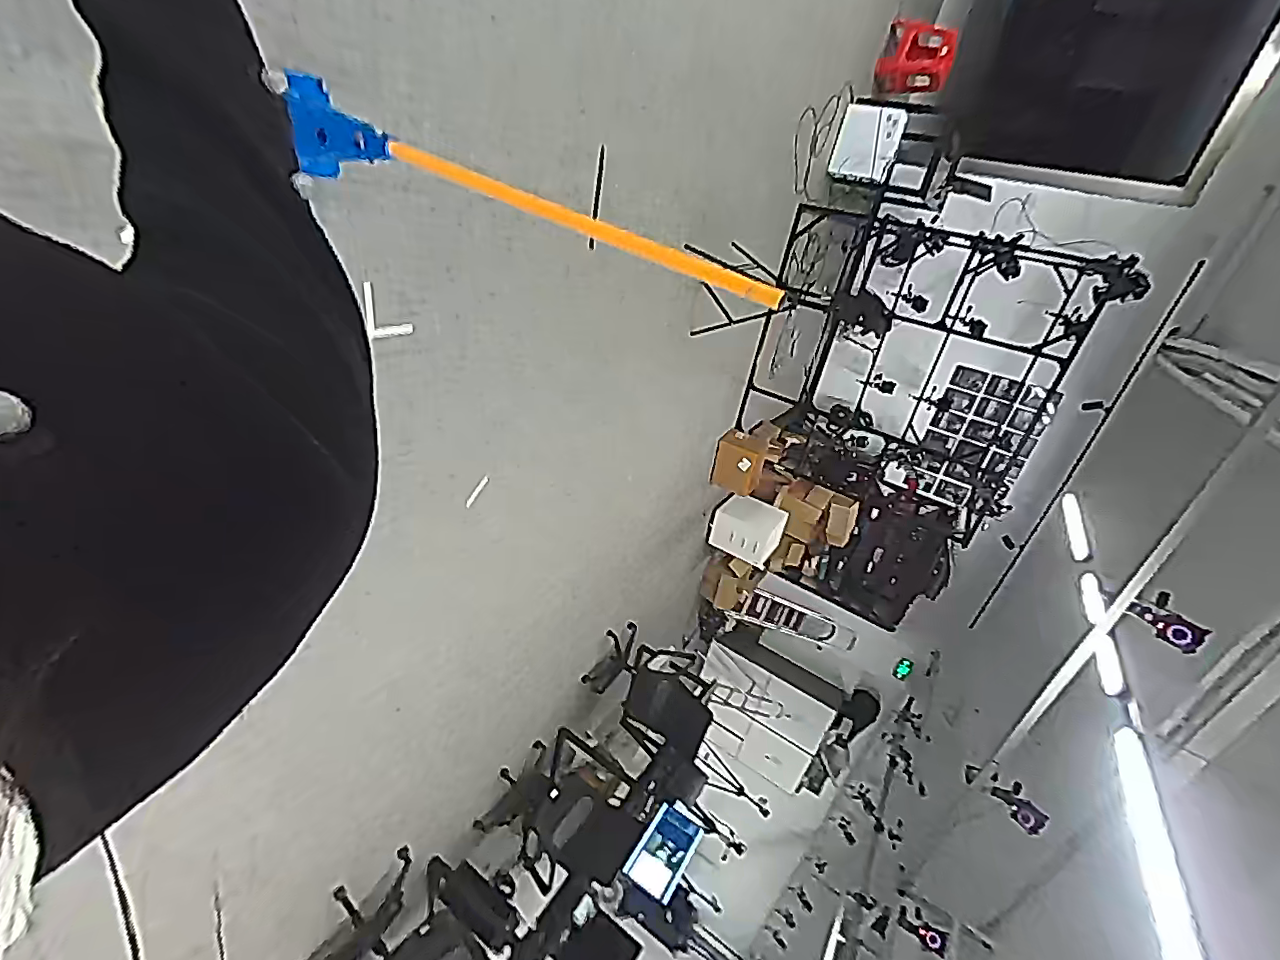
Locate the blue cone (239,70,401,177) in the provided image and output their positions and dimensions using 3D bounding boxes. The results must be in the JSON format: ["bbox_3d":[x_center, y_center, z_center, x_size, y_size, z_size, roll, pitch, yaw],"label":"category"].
[{"bbox_3d":[-0.634,-0.724,1.134,0.193,0.380,0.192,-34,141,-50],"label":"blue cone"}]
